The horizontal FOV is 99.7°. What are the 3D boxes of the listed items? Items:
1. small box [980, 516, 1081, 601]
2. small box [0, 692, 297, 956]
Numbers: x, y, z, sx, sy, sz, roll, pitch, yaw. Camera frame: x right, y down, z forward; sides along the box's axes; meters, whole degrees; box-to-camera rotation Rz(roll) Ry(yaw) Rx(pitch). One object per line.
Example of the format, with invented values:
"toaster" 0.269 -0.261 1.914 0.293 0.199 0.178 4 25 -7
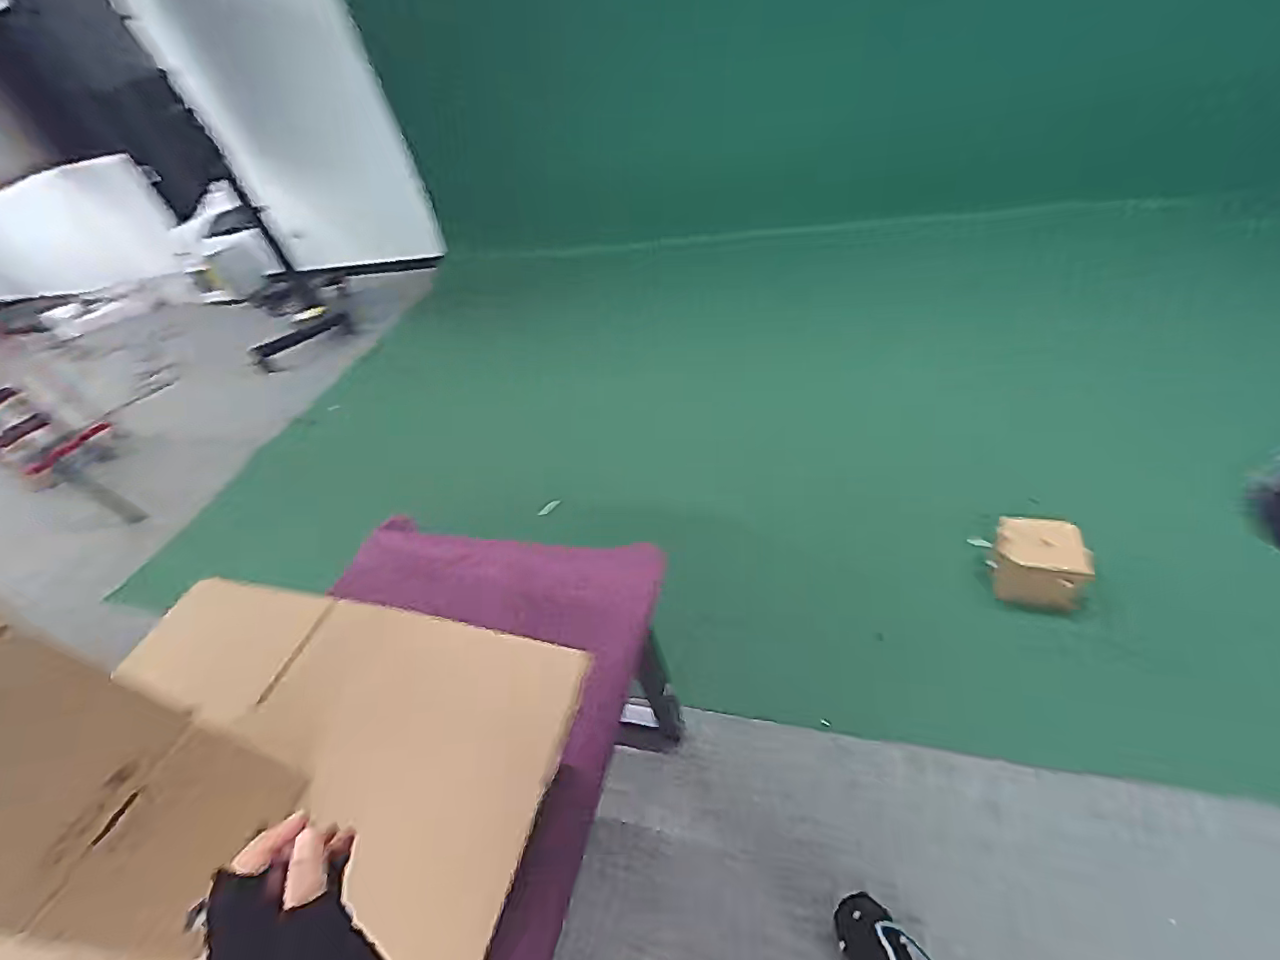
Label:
"small box" 1.087 0.223 1.520 0.179 0.176 0.168 4 47 18
"small box" -0.485 0.328 0.519 0.179 0.176 0.168 2 47 17
